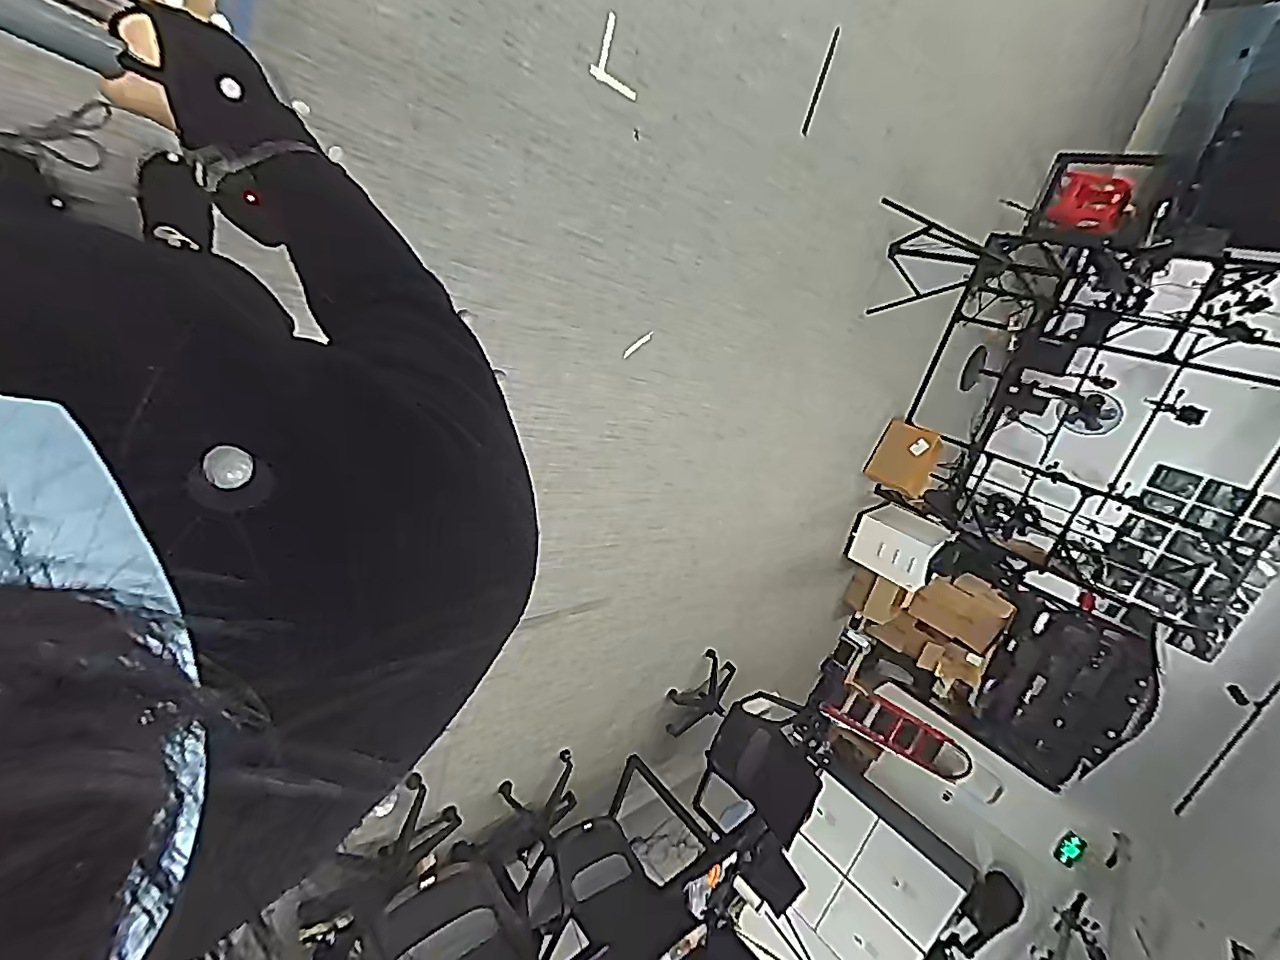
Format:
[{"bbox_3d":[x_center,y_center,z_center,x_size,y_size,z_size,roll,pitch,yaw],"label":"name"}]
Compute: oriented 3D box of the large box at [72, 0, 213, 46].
[{"bbox_3d":[-0.721,-0.762,0.580,0.408,0.320,0.320,4,114,-48],"label":"large box"}]
